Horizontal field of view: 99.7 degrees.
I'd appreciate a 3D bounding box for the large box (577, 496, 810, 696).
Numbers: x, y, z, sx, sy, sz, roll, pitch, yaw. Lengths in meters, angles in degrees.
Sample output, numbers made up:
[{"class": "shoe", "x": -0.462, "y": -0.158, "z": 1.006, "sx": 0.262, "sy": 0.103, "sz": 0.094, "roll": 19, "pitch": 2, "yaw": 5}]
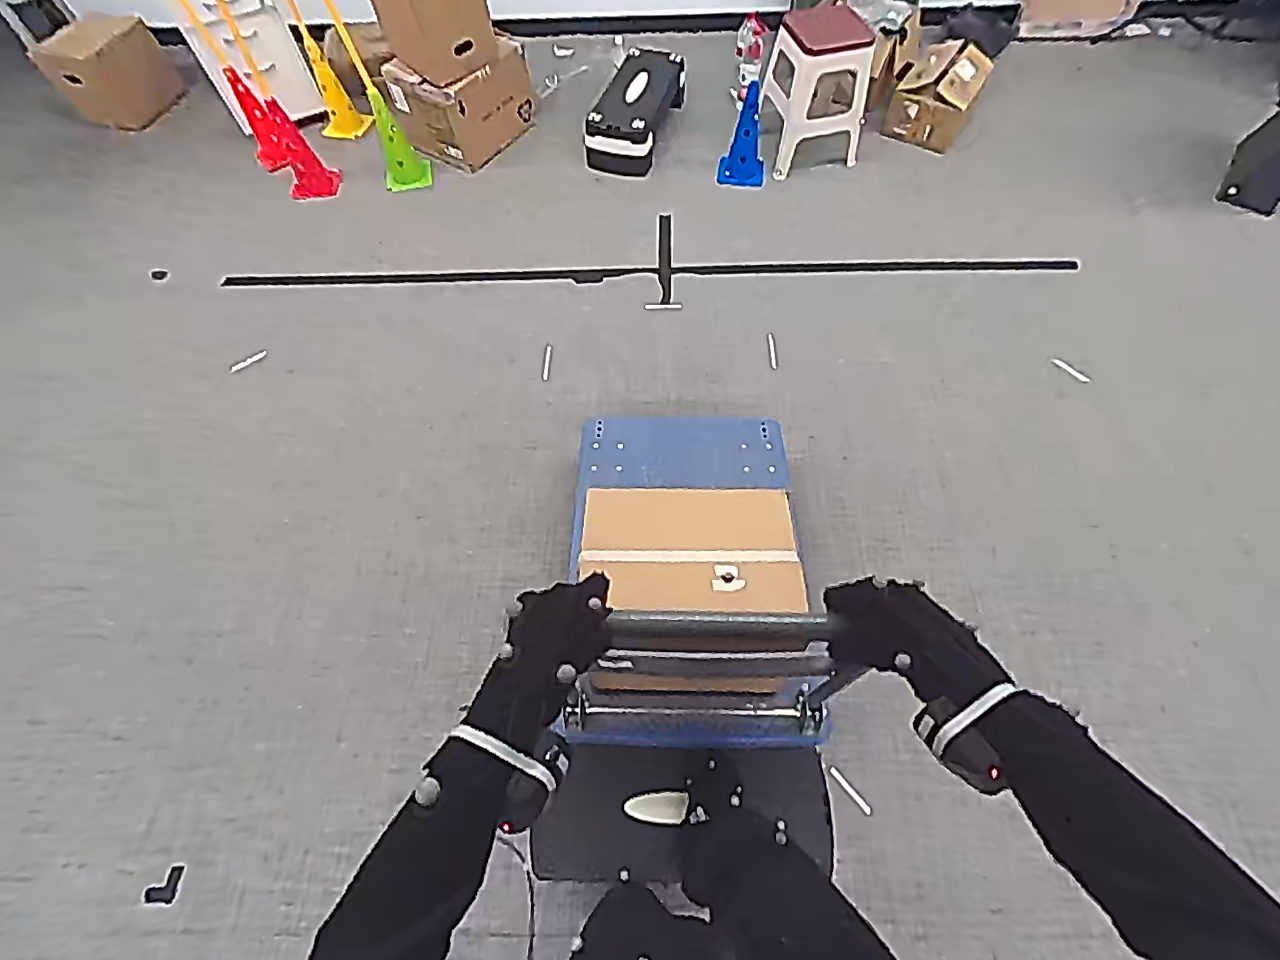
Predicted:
[{"class": "large box", "x": 0.088, "y": 0.245, "z": 1.115, "sx": 0.408, "sy": 0.320, "sz": 0.320, "roll": 0, "pitch": 54, "yaw": 0}]
